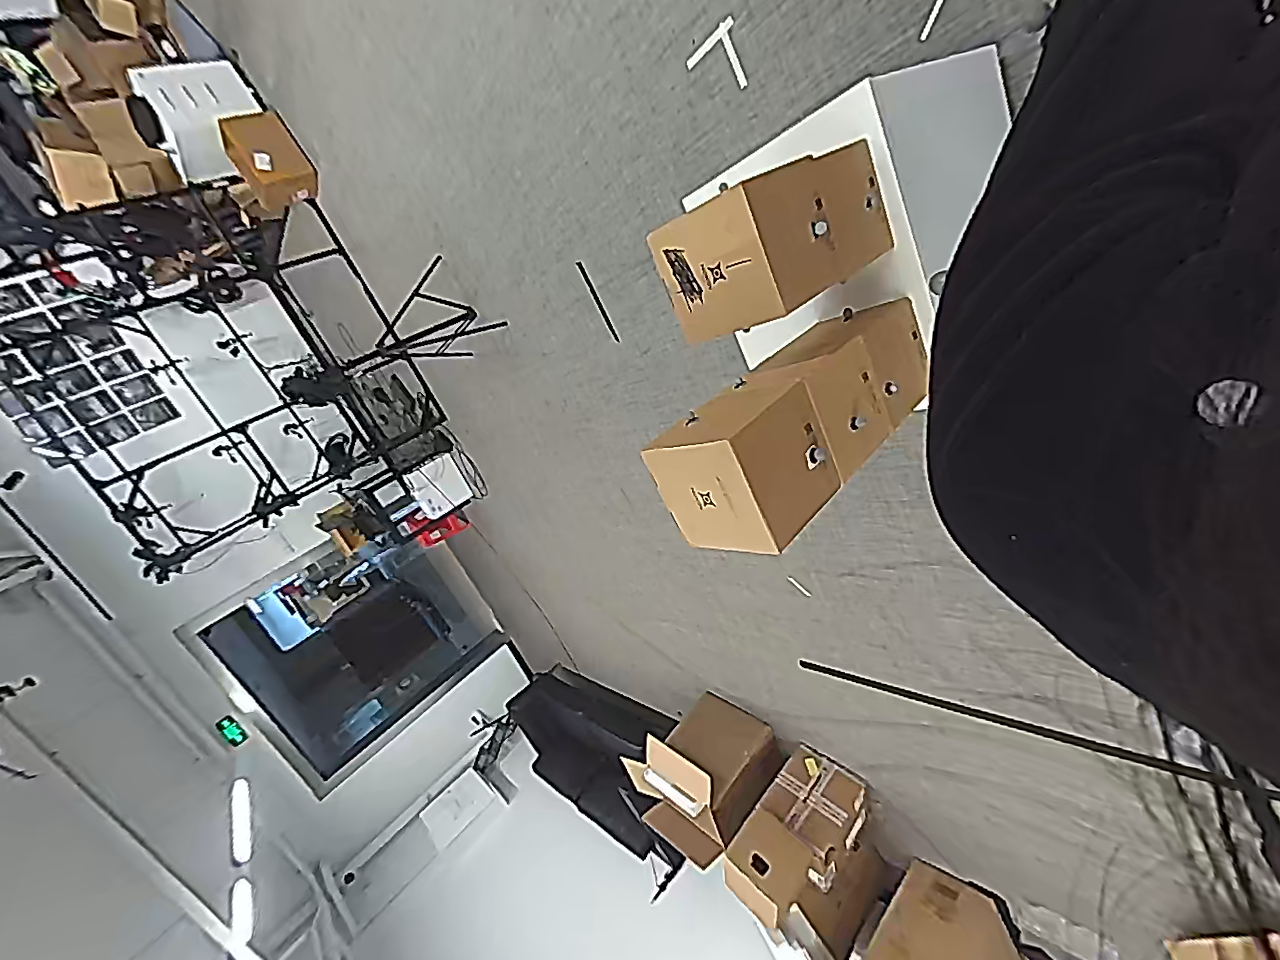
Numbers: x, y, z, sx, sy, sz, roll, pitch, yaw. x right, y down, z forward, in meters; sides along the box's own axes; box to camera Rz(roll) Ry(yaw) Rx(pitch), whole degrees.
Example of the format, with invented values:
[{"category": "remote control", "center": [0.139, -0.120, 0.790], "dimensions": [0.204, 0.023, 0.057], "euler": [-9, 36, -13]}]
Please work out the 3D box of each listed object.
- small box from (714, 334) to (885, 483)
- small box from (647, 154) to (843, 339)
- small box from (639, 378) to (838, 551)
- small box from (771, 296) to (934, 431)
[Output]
[{"category": "small box", "center": [0.250, -0.105, 0.830], "dimensions": [0.179, 0.176, 0.168], "euler": [-3, 119, 54]}, {"category": "small box", "center": [0.147, -0.317, 0.749], "dimensions": [0.179, 0.176, 0.168], "euler": [0, 122, 51]}, {"category": "small box", "center": [0.138, -0.022, 0.747], "dimensions": [0.179, 0.176, 0.168], "euler": [-4, 119, 54]}, {"category": "small box", "center": [0.360, -0.189, 0.916], "dimensions": [0.179, 0.176, 0.168], "euler": [0, 121, 54]}]
